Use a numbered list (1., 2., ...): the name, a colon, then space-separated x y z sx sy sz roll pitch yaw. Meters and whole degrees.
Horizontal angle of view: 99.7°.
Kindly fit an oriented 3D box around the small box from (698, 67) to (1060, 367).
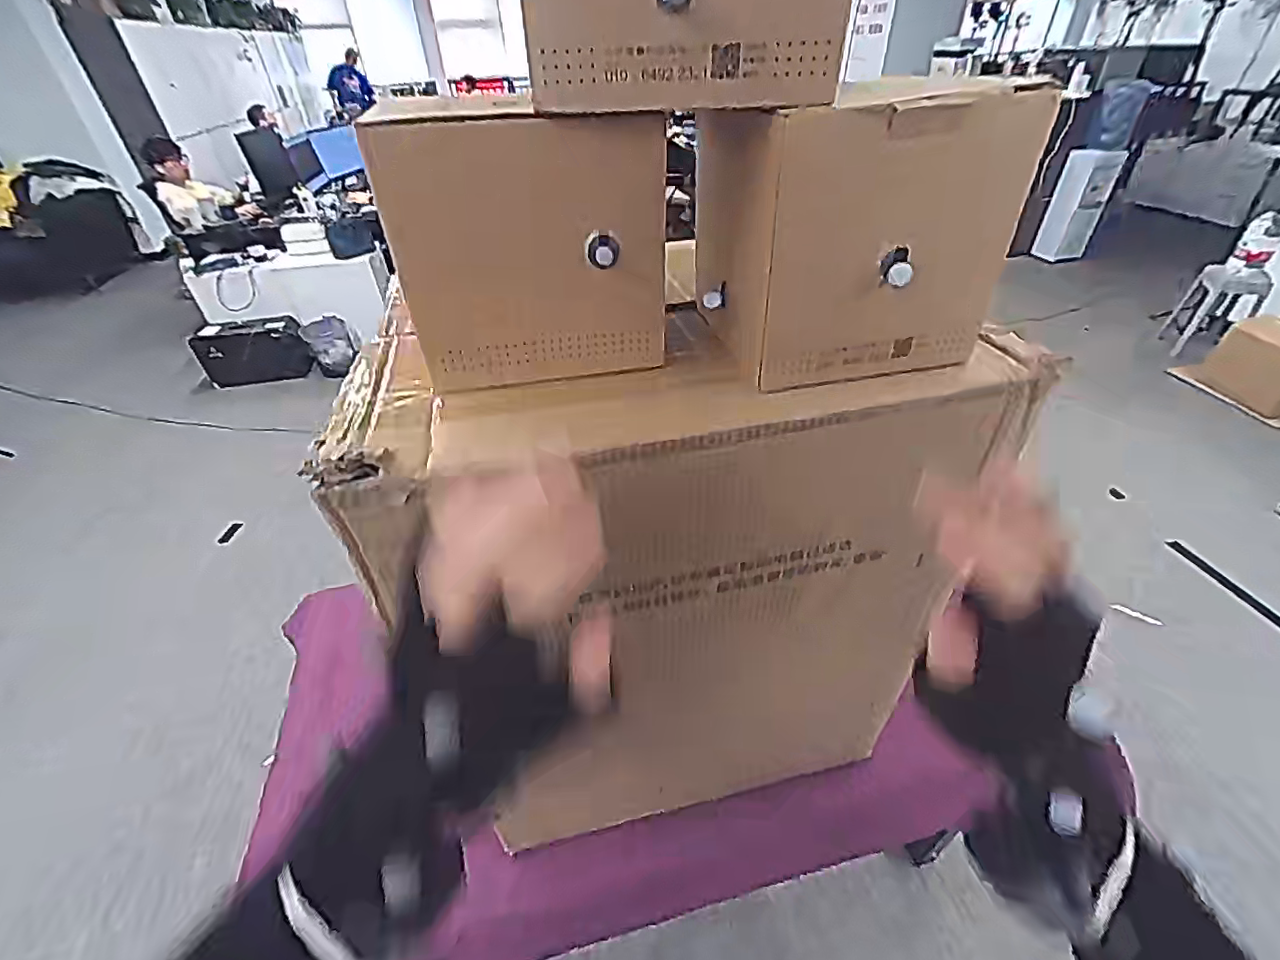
1. small box: 0.145 -0.194 0.405 0.168 0.176 0.179 -9 39 -6

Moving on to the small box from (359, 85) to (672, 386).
1. small box: -0.081 -0.189 0.410 0.179 0.176 0.168 -10 39 -9

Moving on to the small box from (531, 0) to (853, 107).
1. small box: 0.025 -0.320 0.307 0.168 0.176 0.179 -1 39 2
